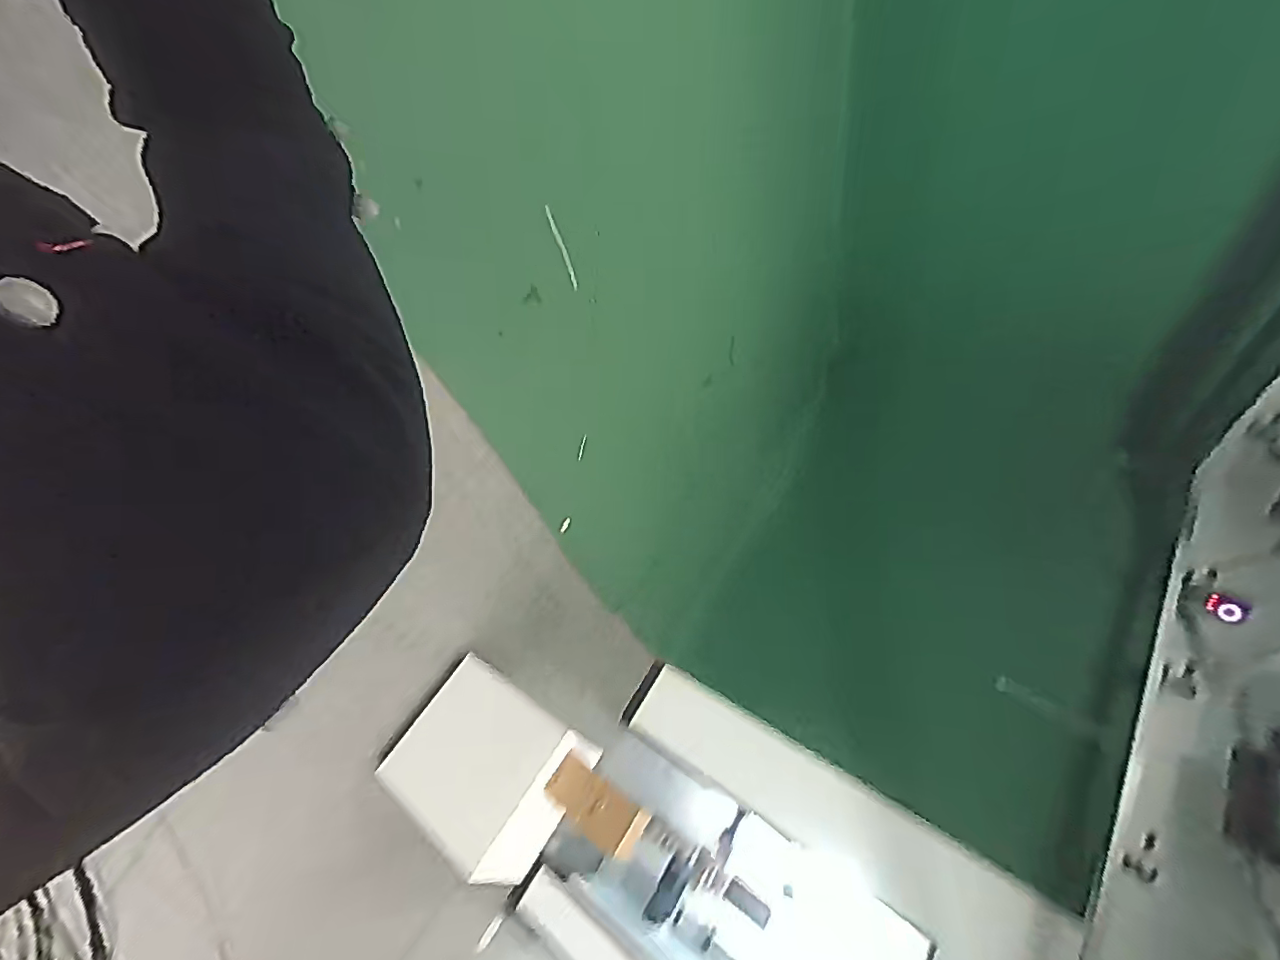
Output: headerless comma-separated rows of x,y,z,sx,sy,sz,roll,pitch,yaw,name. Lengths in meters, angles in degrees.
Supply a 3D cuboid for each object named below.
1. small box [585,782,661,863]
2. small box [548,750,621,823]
-0.058,1.166,1.845,0.168,0.176,0.179,-54,145,-22,small box
-0.199,1.100,1.934,0.168,0.176,0.179,-52,146,-24,small box
